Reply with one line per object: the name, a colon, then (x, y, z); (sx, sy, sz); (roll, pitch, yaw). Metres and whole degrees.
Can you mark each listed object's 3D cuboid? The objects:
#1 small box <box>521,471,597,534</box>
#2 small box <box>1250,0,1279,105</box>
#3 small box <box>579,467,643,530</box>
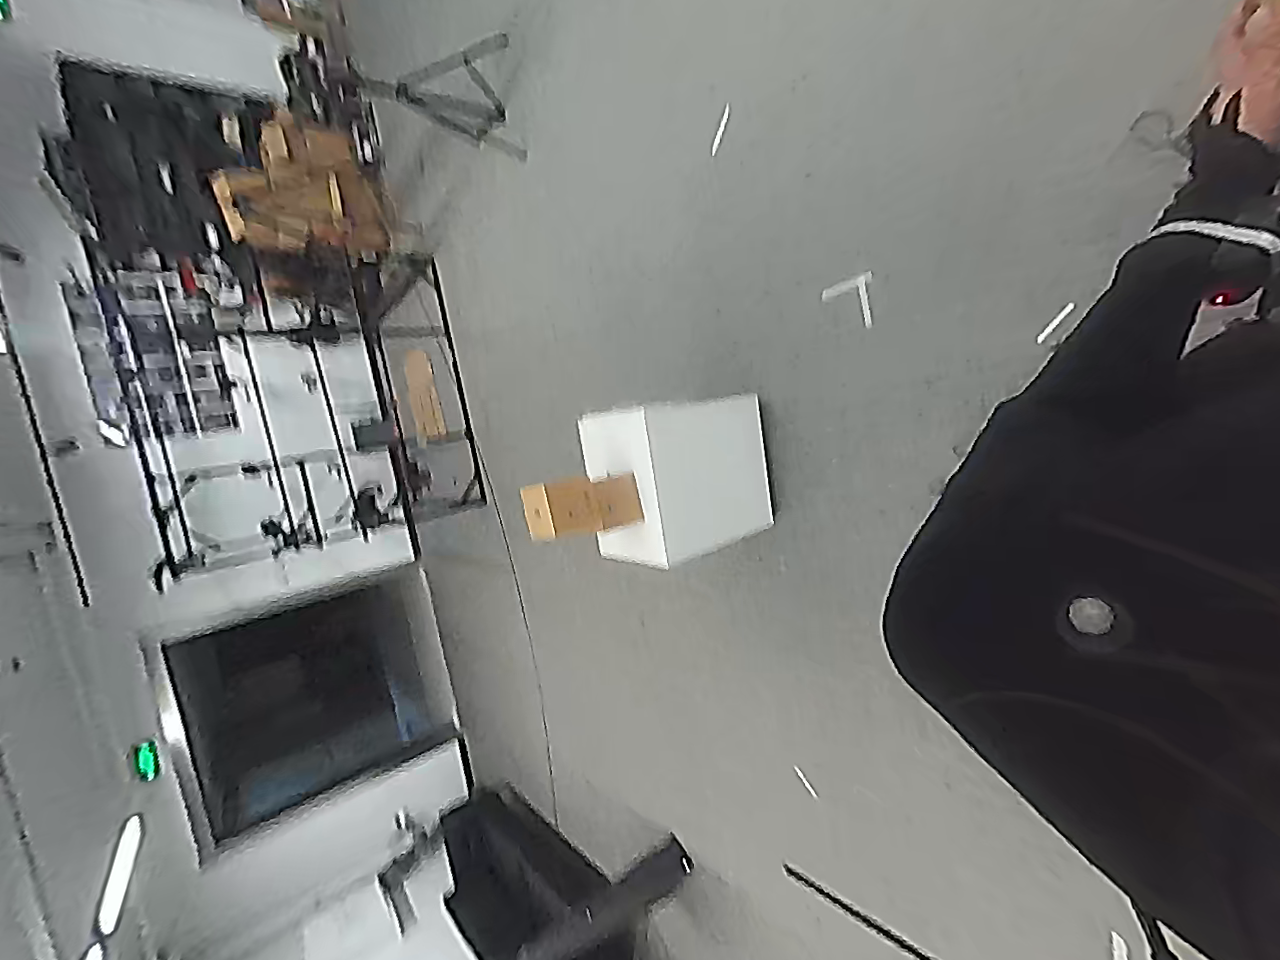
small box: (-0.252, 0.071, 1.725); (0.179, 0.176, 0.168); (-10, 94, 54)
small box: (0.513, -0.378, 0.329); (0.179, 0.176, 0.168); (-13, 93, 40)
small box: (-0.111, 0.062, 1.810); (0.168, 0.176, 0.179); (-11, 92, 53)
